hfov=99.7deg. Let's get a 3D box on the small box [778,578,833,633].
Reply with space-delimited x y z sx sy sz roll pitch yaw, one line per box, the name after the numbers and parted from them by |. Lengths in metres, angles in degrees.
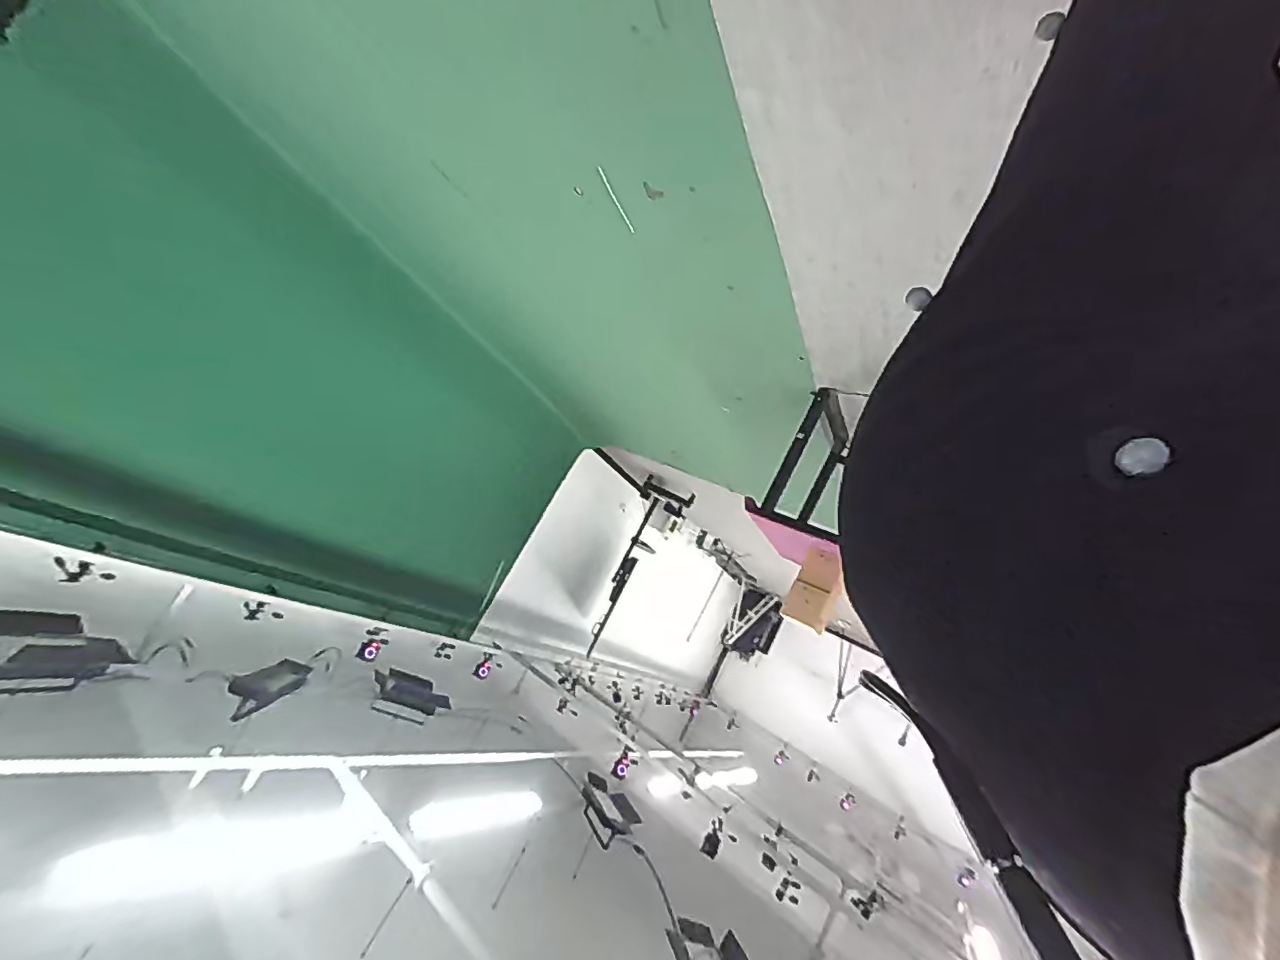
0.737 0.555 2.397 0.168 0.176 0.179 22 167 34 | small box
